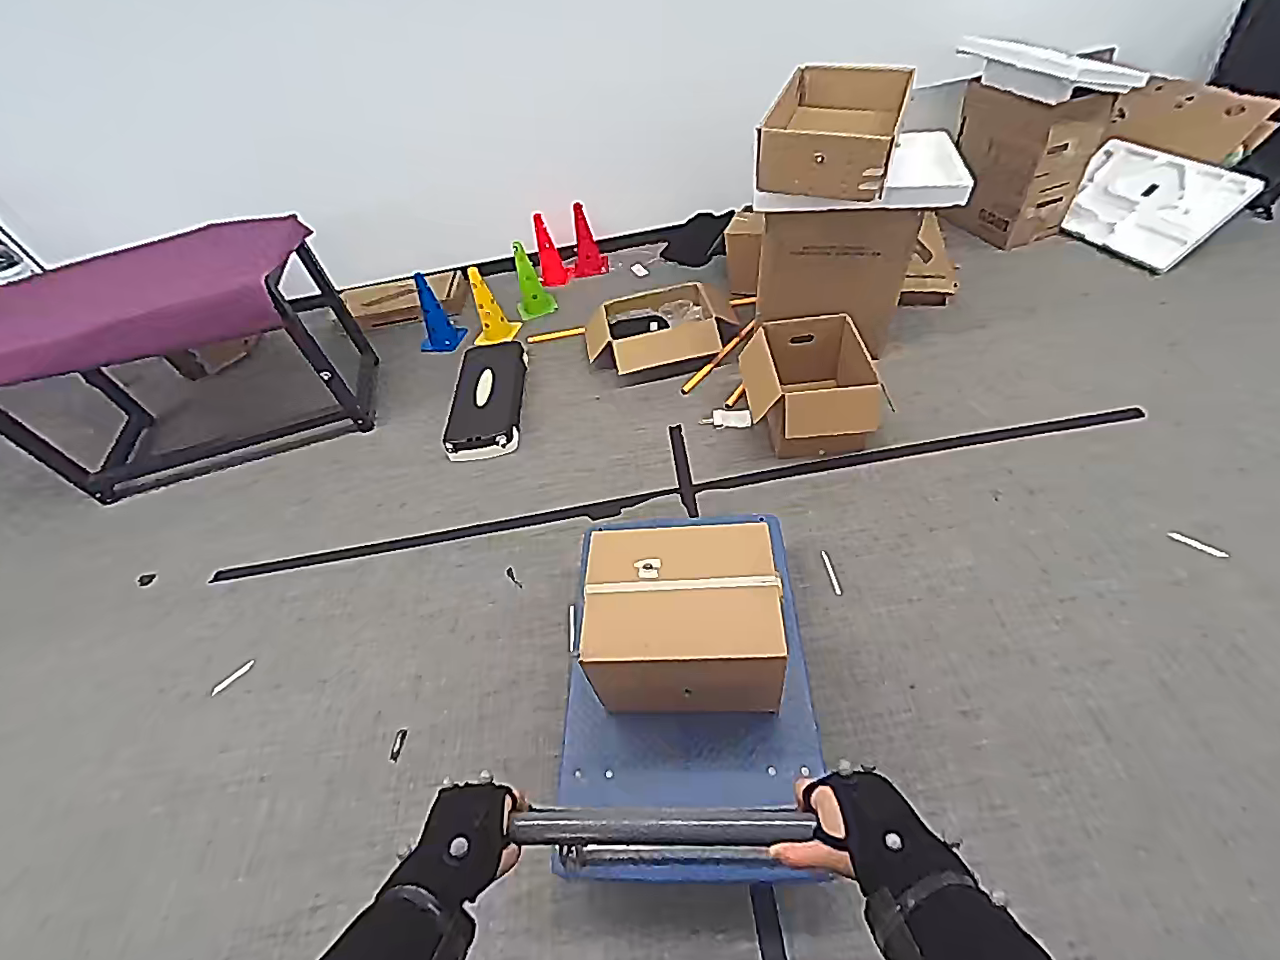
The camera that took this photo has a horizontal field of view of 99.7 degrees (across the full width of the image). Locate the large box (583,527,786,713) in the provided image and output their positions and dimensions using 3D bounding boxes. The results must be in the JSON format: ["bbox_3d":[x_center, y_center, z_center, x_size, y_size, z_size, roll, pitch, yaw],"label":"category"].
[{"bbox_3d":[0.107,0.336,1.263,0.408,0.320,0.320,-5,48,7],"label":"large box"}]
